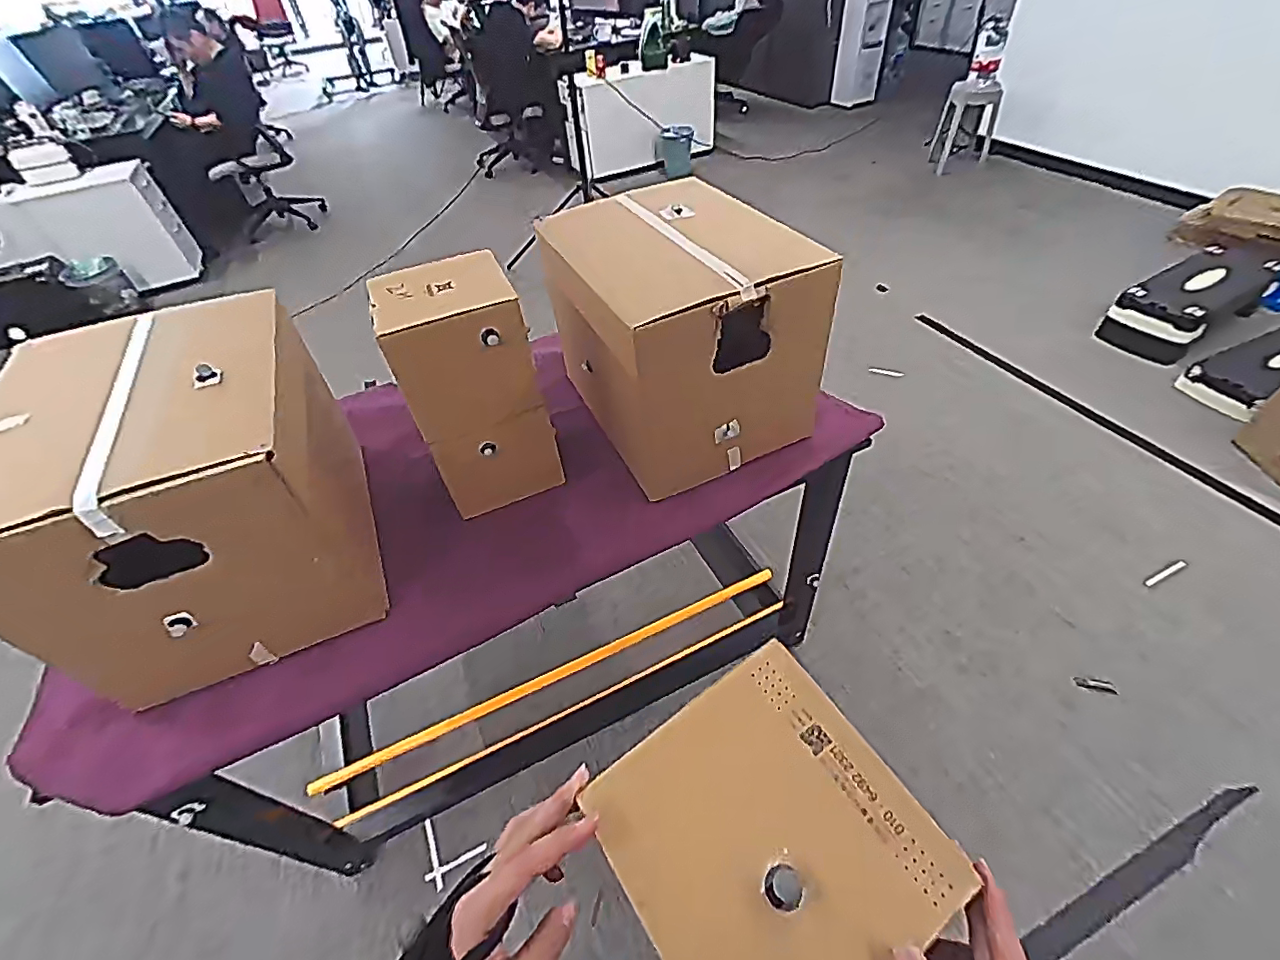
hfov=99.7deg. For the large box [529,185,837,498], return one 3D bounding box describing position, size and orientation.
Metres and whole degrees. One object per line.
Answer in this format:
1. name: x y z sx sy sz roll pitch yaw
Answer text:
1. large box: 0.055 -0.244 0.902 0.320 0.320 0.408 -22 47 -15
